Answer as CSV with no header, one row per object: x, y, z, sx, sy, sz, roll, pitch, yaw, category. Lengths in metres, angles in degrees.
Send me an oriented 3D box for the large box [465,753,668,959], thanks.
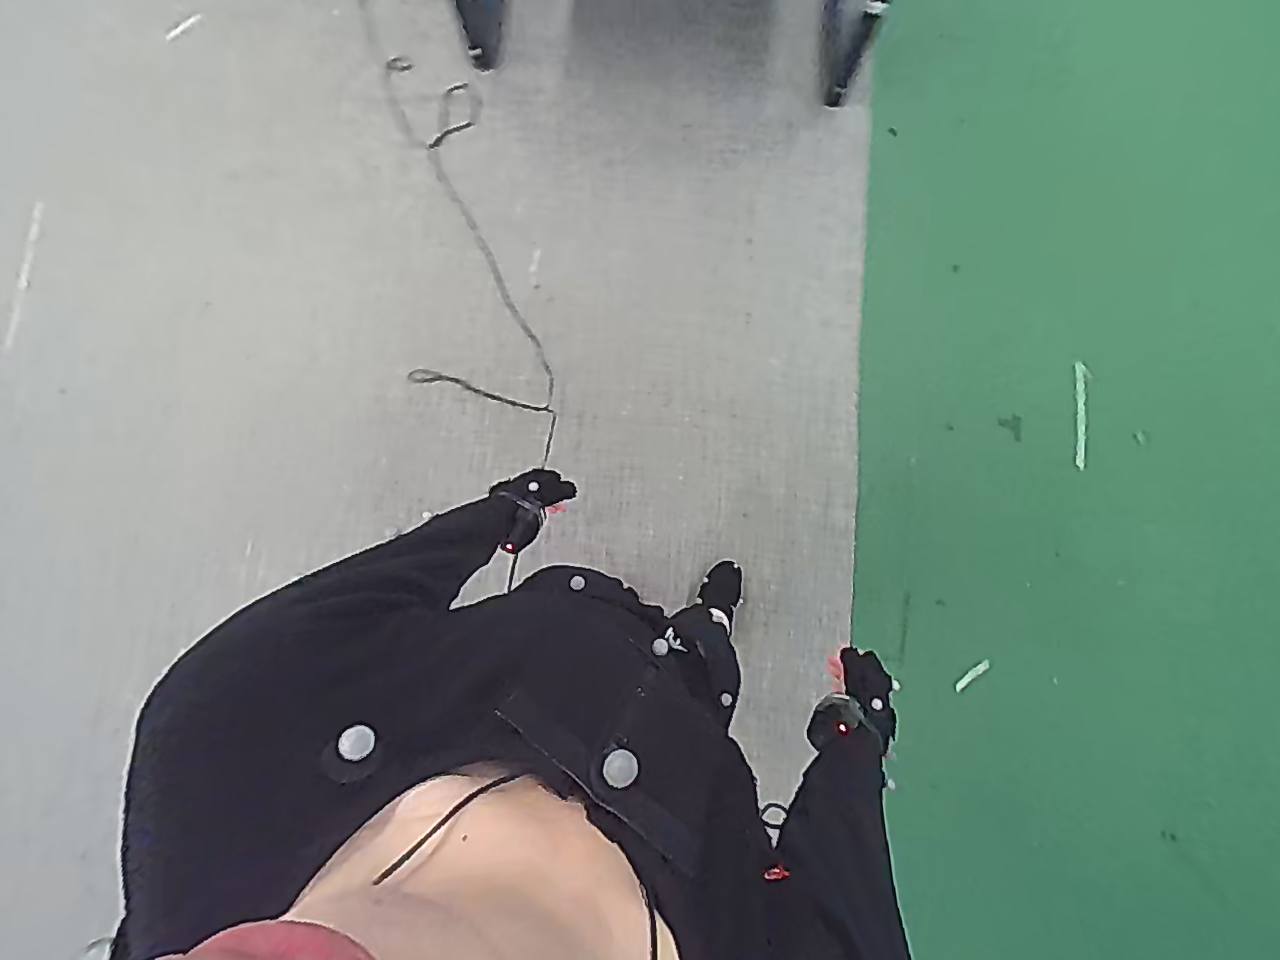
-0.160,0.876,1.287,0.408,0.320,0.320,7,83,-2,large box
